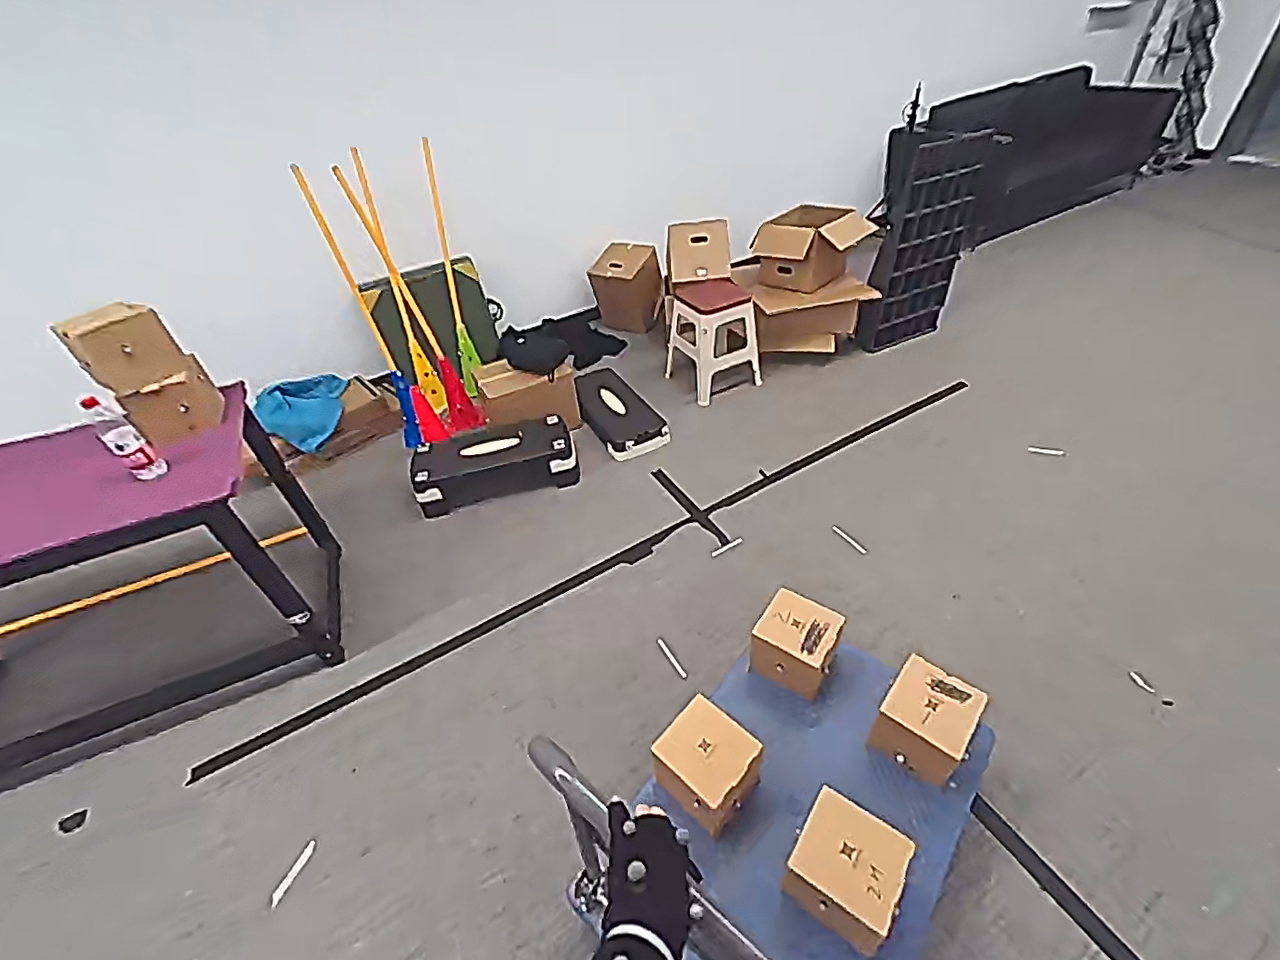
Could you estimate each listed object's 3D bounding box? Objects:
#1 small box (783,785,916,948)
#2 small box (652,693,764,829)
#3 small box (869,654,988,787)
[{"bbox_3d":[0.384,0.727,1.016,0.179,0.176,0.168,23,49,31],"label":"small box"},{"bbox_3d":[0.146,0.614,1.180,0.179,0.176,0.168,31,53,33],"label":"small box"},{"bbox_3d":[0.634,0.535,1.204,0.168,0.176,0.179,28,53,33],"label":"small box"}]
